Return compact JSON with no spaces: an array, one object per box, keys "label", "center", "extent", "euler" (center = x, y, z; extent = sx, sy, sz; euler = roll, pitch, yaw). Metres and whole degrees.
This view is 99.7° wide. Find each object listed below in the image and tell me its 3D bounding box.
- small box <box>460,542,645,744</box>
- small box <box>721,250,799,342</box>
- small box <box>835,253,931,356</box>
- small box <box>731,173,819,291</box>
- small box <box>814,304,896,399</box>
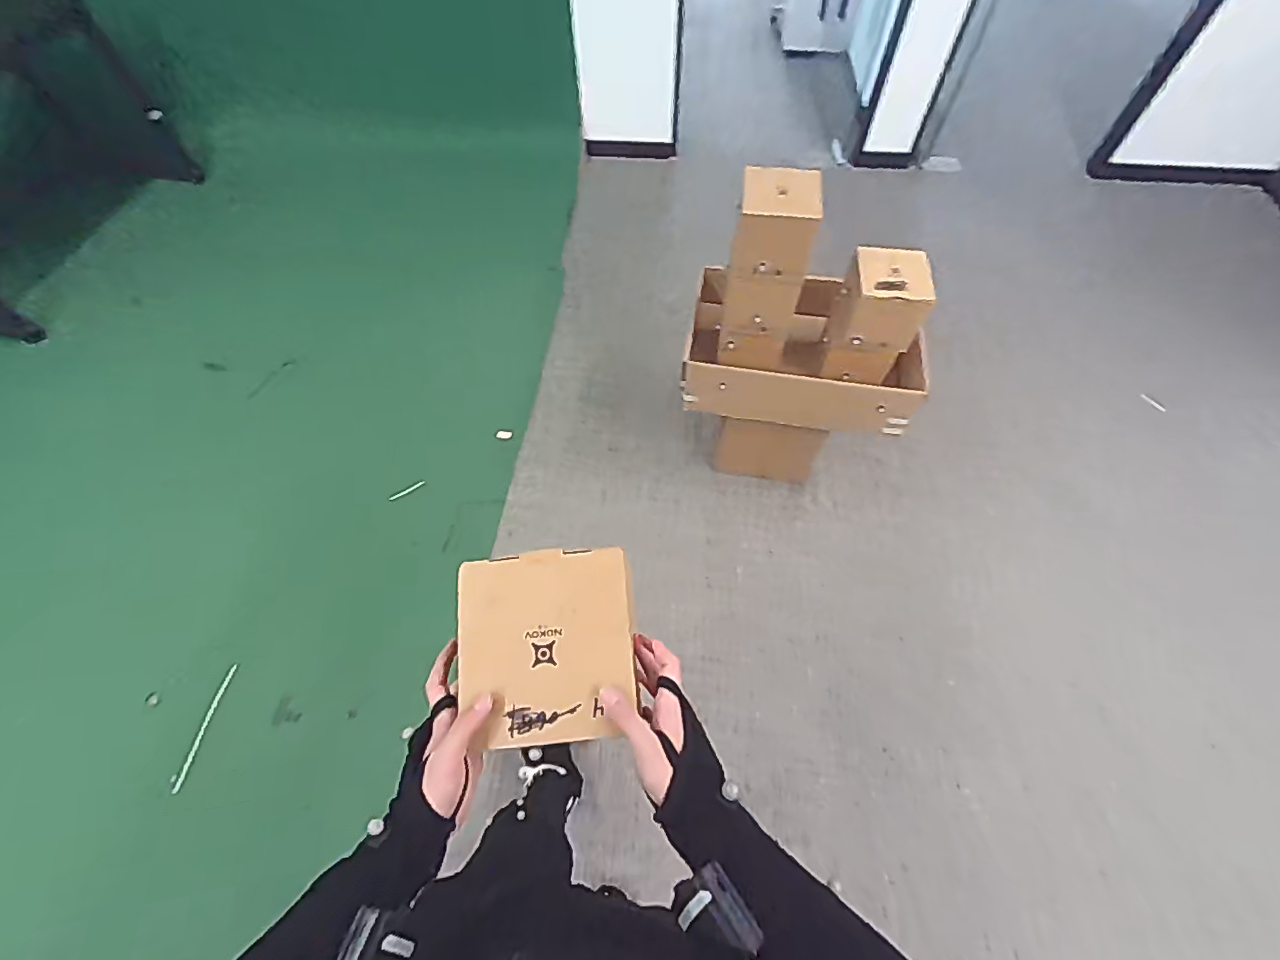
[{"label":"small box","center":[-0.083,0.176,0.585],"extent":[0.168,0.176,0.179],"euler":[-6,70,1]},{"label":"small box","center":[0.300,-0.477,1.365],"extent":[0.168,0.176,0.179],"euler":[7,59,5]},{"label":"small box","center":[0.591,-0.429,1.337],"extent":[0.168,0.176,0.179],"euler":[7,59,3]},{"label":"small box","center":[0.301,-0.560,1.225],"extent":[0.168,0.176,0.179],"euler":[7,59,5]},{"label":"small box","center":[0.584,-0.350,1.482],"extent":[0.168,0.176,0.179],"euler":[11,60,6]}]
